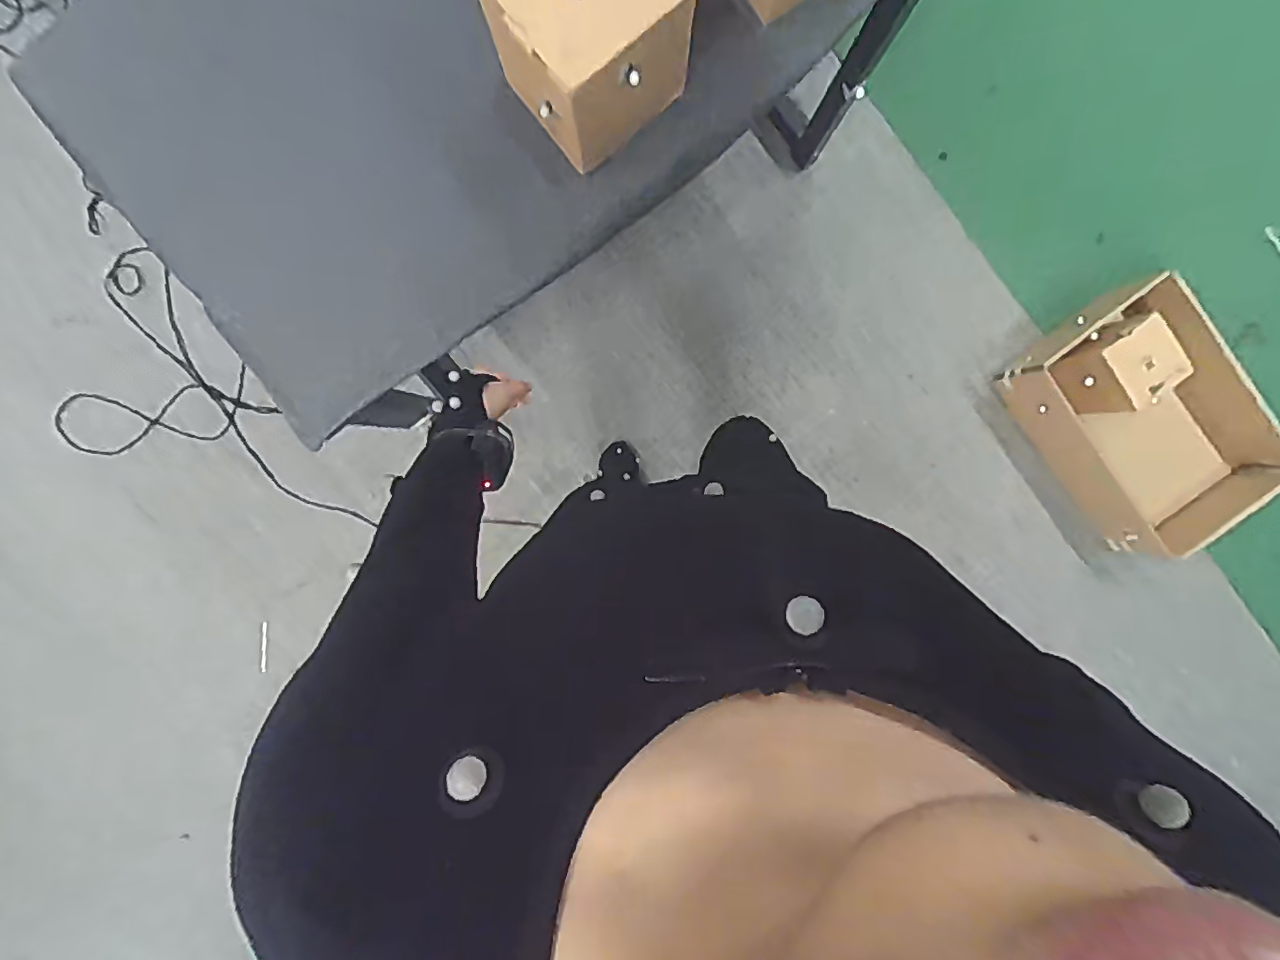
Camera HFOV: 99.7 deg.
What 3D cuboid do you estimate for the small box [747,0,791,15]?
[{"bbox_3d":[0.188,-0.709,0.619,0.179,0.176,0.168,-34,92,2],"label":"small box"}]

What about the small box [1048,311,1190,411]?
[{"bbox_3d":[1.187,-0.289,1.357,0.168,0.176,0.179,-36,94,2],"label":"small box"}]

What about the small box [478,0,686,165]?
[{"bbox_3d":[-0.063,-0.518,0.630,0.179,0.176,0.168,-39,93,0],"label":"small box"}]
